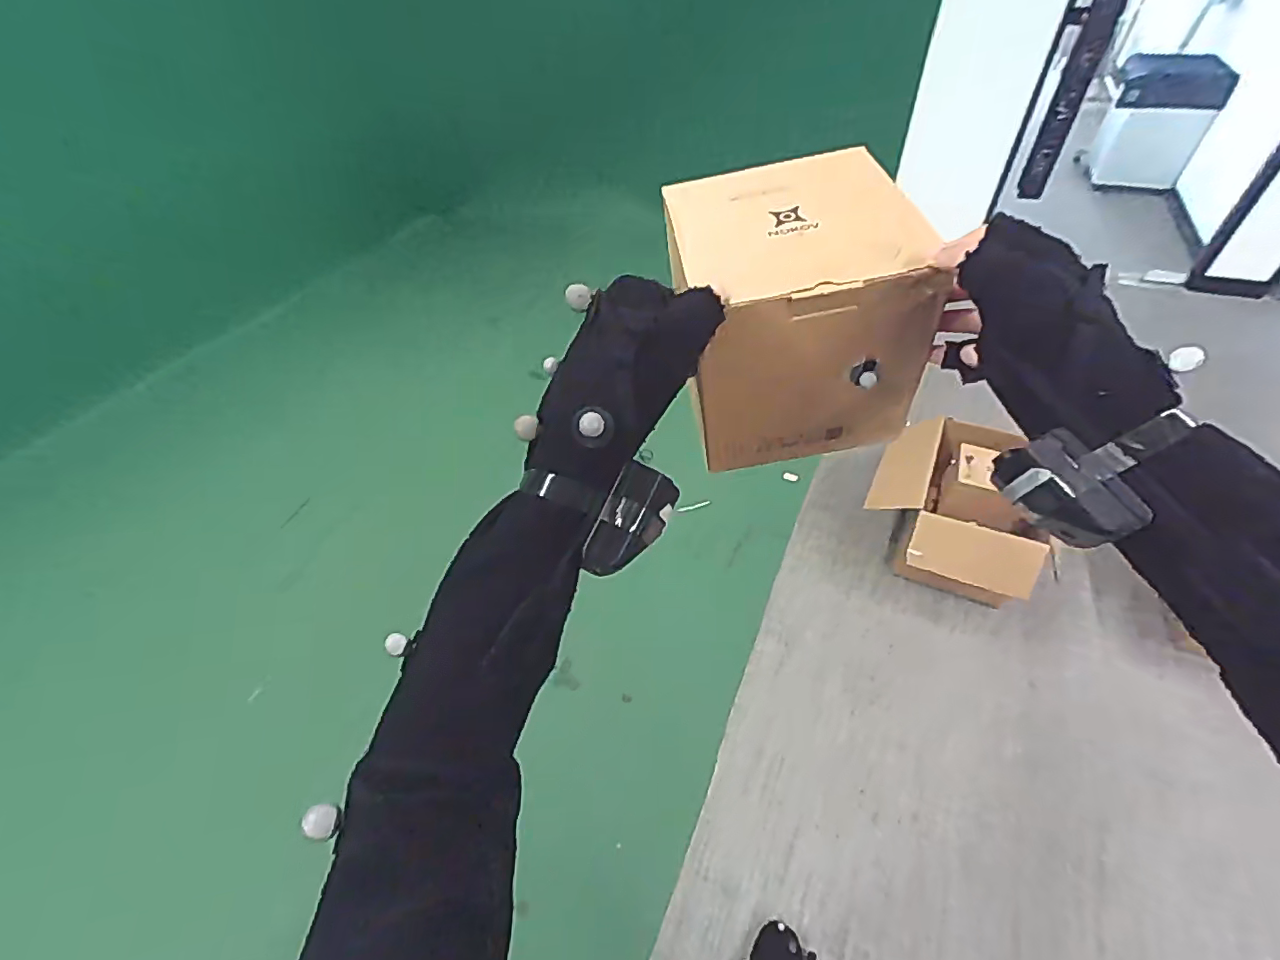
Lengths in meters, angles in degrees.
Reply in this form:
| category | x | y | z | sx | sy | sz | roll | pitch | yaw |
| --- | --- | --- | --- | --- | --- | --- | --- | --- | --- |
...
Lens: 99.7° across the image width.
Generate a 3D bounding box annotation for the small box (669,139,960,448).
| category | x | y | z | sx | sy | sz | roll | pitch | yaw |
| --- | --- | --- | --- | --- | --- | --- | --- | --- | --- |
| small box | 0.122 | -0.142 | 0.447 | 0.168 | 0.176 | 0.179 | -9 | 53 | 3 |
